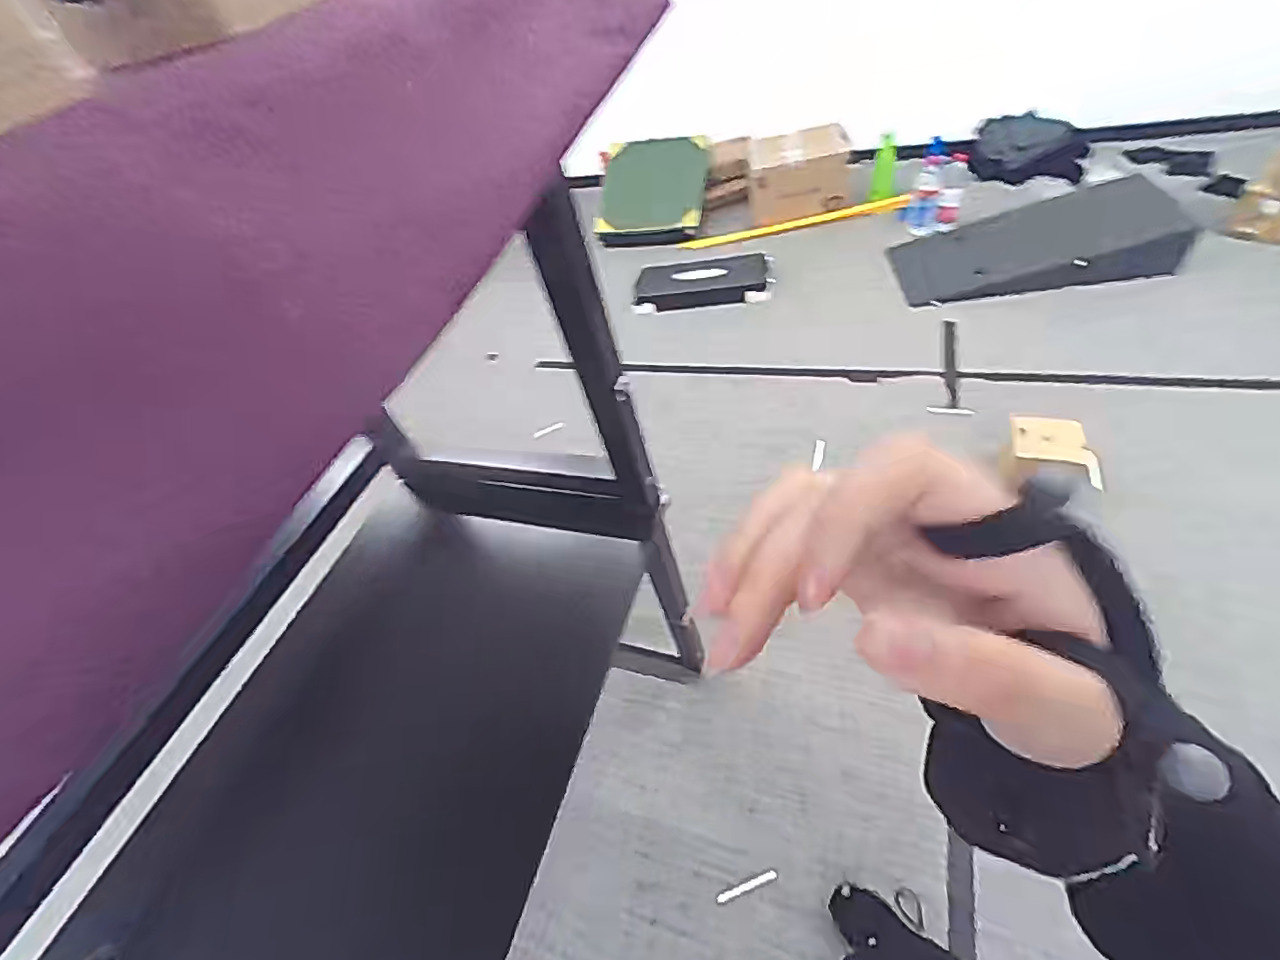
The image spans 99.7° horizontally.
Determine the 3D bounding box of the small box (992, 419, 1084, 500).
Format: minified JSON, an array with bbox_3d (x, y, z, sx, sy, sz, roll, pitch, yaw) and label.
[{"bbox_3d":[1.181,-0.058,1.617,0.179,0.176,0.168,9,53,20],"label":"small box"}]
